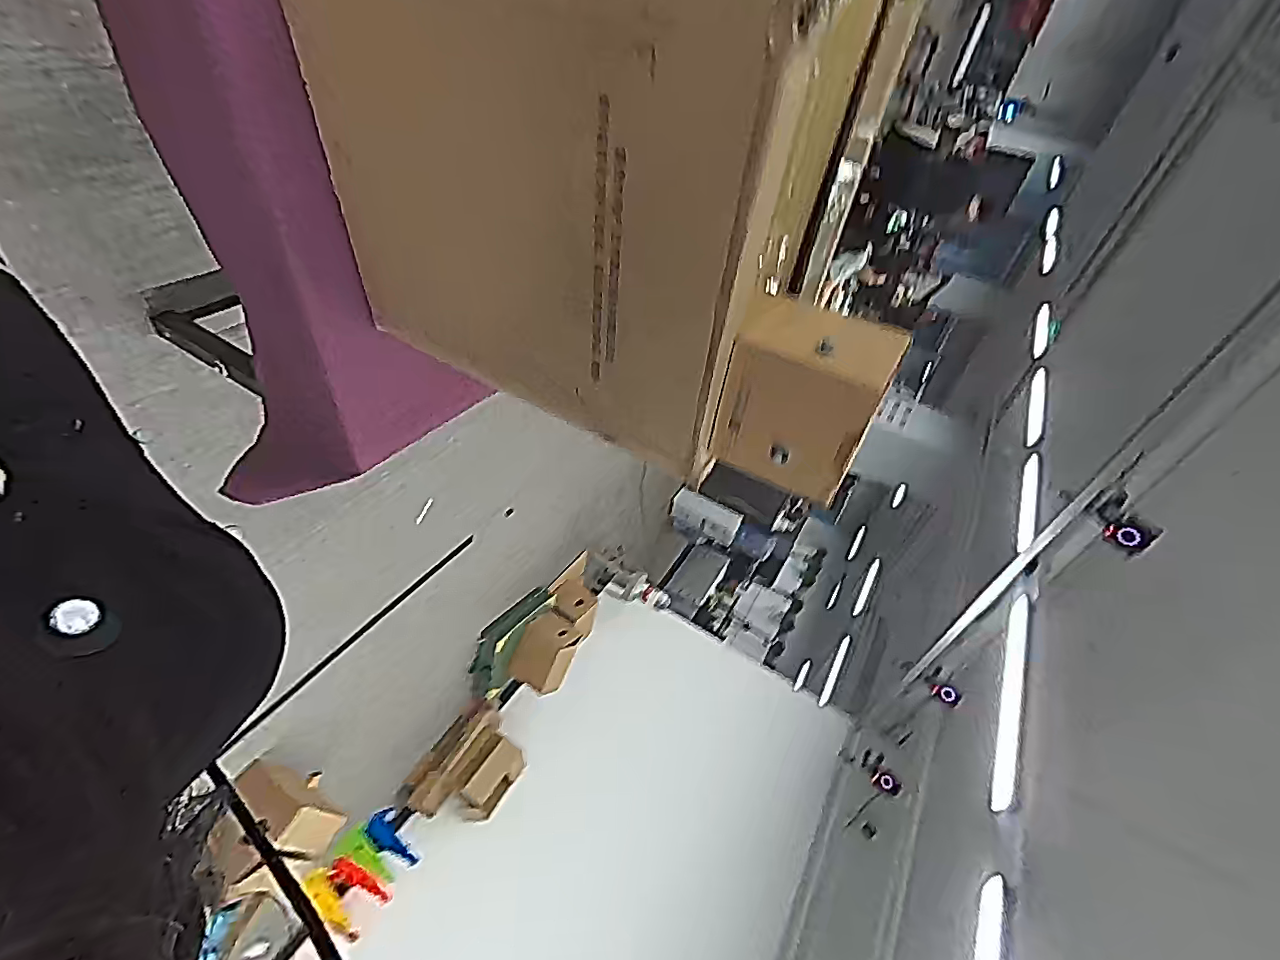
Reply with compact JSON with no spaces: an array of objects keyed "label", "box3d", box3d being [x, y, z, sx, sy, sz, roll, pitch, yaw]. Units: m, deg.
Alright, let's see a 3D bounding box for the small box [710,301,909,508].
[{"label":"small box","box3d":[0.206,-0.102,0.679,0.179,0.176,0.168,-46,156,-44]}]
